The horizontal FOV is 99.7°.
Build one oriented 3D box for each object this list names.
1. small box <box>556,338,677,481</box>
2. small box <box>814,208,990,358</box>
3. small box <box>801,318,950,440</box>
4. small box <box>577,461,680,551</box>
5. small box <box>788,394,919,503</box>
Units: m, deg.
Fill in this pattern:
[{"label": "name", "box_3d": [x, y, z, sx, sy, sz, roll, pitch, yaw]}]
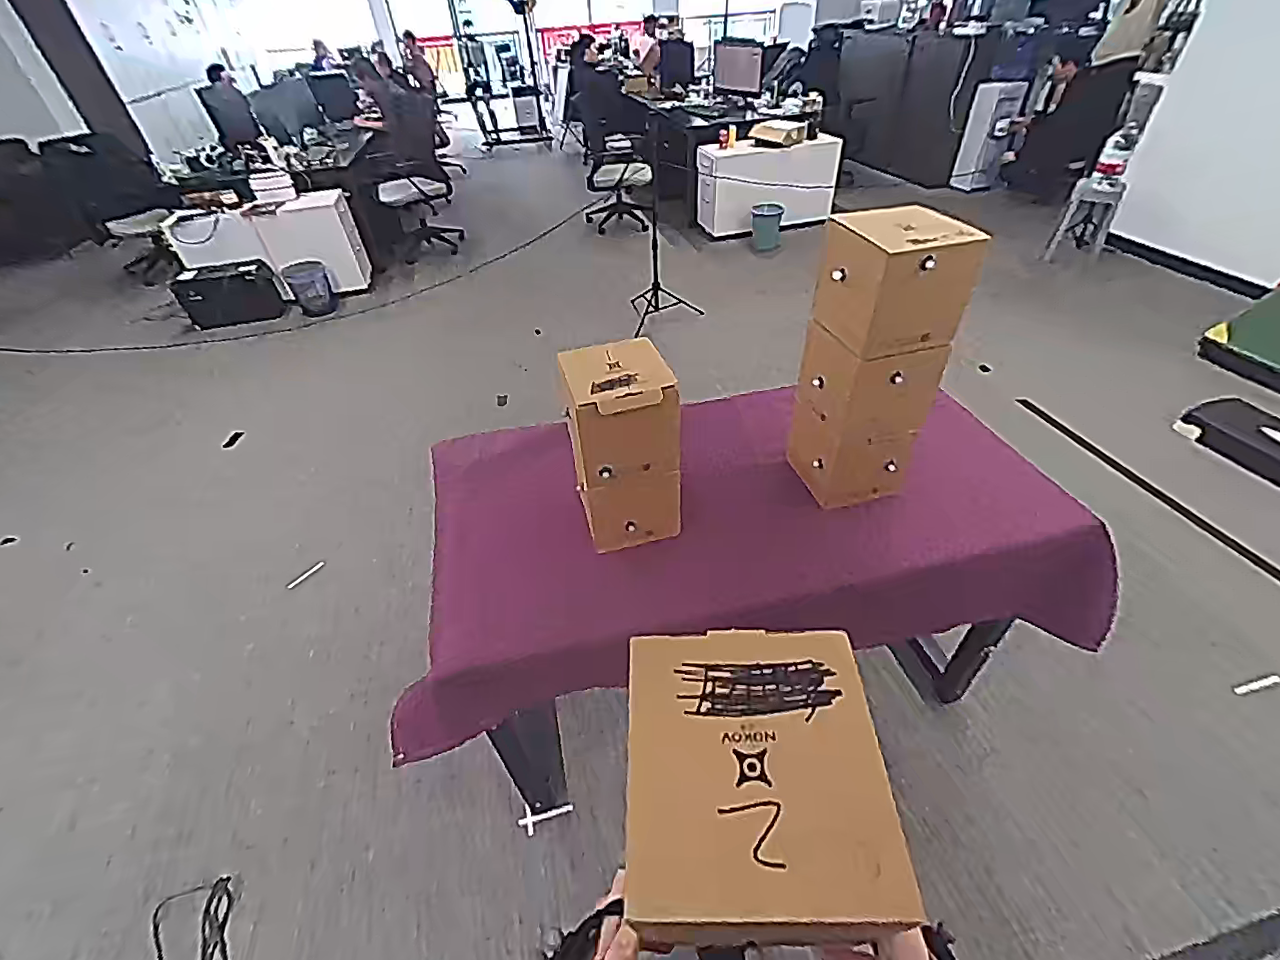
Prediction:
[{"label": "small box", "box_3d": [-0.037, -0.115, 0.924, 0.168, 0.176, 0.179, -13, 43, -10]}, {"label": "small box", "box_3d": [0.399, -0.316, 0.863, 0.168, 0.176, 0.179, -12, 42, -9]}, {"label": "small box", "box_3d": [0.404, -0.189, 0.967, 0.179, 0.176, 0.168, -12, 43, -10]}, {"label": "small box", "box_3d": [-0.027, 0.007, 1.033, 0.168, 0.176, 0.179, -12, 43, -9]}, {"label": "small box", "box_3d": [0.413, -0.070, 1.079, 0.168, 0.176, 0.179, -12, 42, -9]}]
